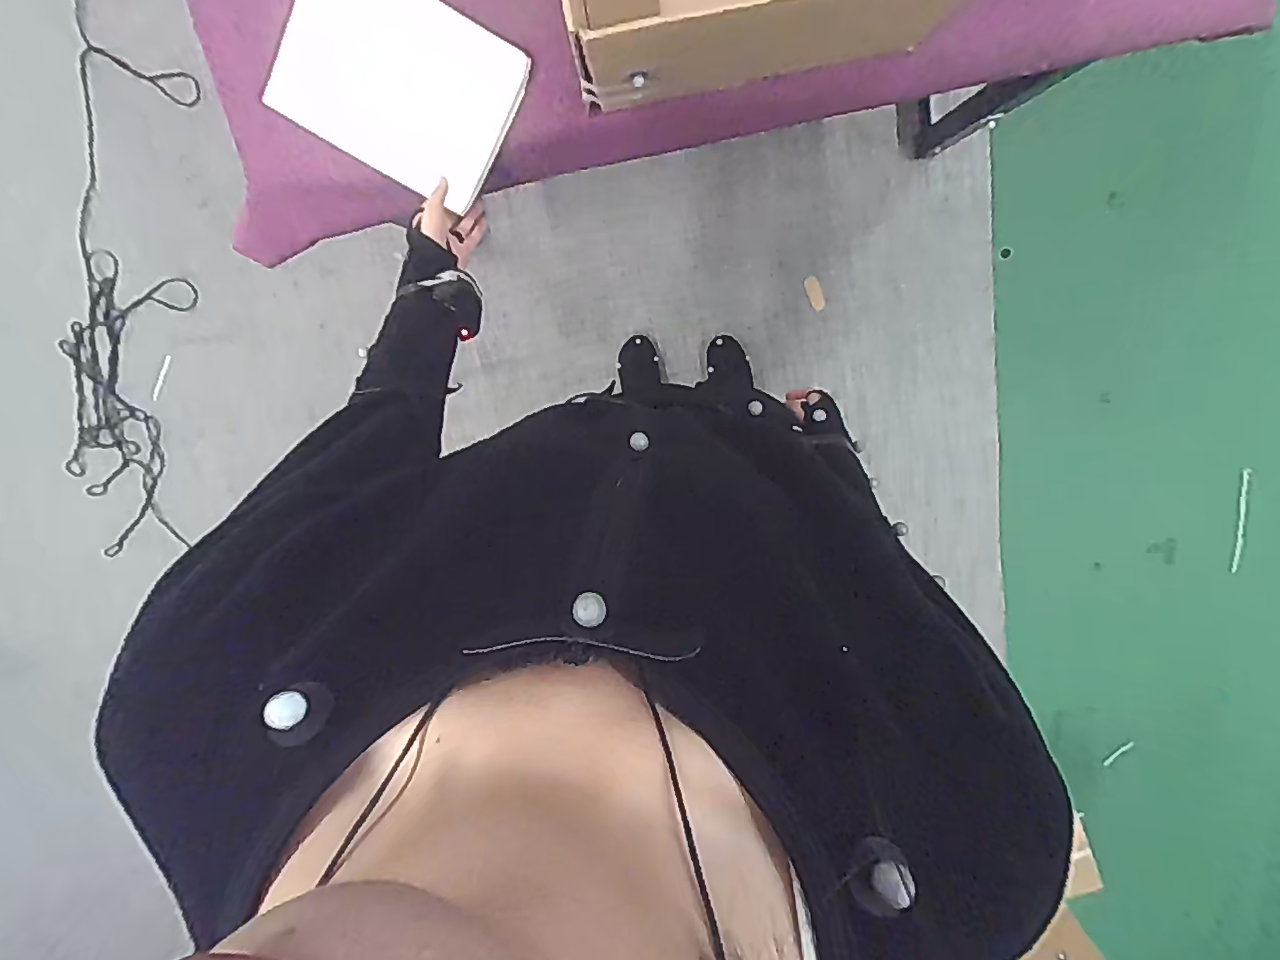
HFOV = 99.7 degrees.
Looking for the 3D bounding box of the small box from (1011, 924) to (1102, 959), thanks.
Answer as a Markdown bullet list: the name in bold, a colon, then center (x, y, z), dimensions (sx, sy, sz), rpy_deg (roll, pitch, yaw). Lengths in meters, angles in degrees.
- **small box**: center (0.995, 1.182, 1.243), dimensions (0.179, 0.176, 0.168), rpy_deg (-25, 103, 8)
